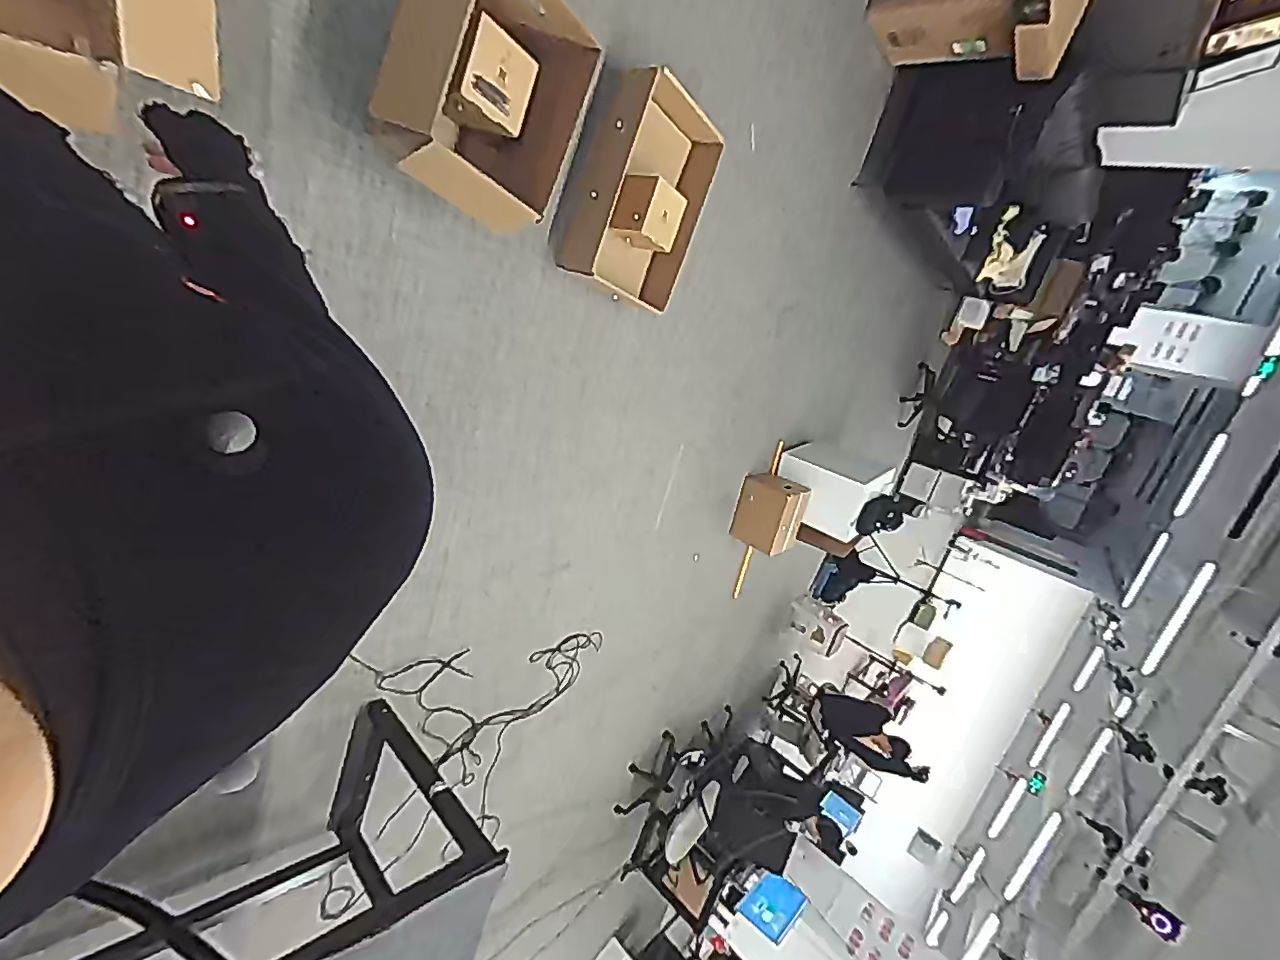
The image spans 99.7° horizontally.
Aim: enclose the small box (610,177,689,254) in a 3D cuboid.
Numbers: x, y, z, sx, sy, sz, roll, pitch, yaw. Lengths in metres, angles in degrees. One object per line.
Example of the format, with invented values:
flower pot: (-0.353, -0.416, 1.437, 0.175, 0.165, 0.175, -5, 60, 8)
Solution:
small box: (0.027, -0.871, 1.776, 0.168, 0.176, 0.179, 7, 107, -53)
